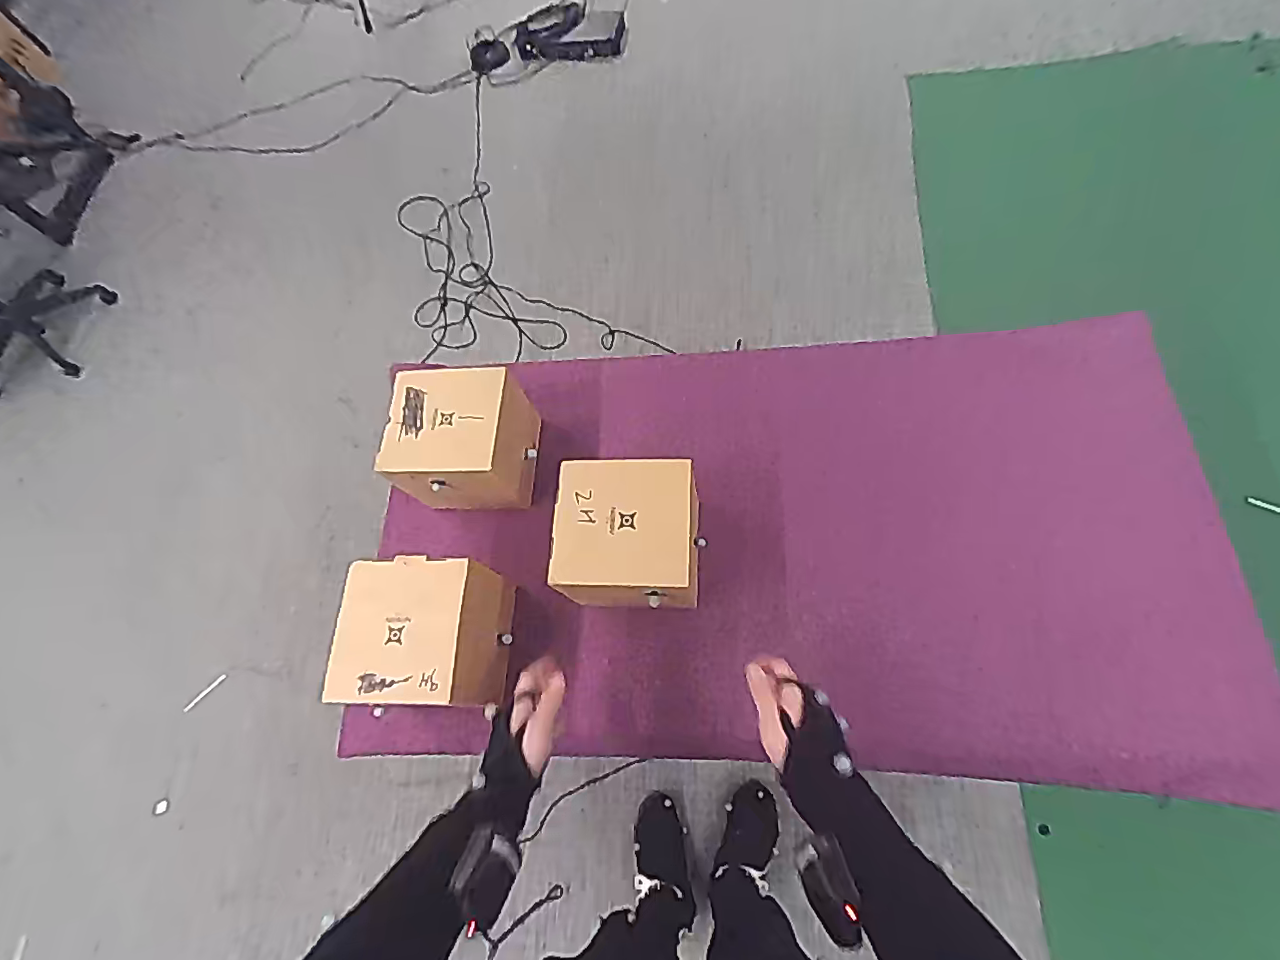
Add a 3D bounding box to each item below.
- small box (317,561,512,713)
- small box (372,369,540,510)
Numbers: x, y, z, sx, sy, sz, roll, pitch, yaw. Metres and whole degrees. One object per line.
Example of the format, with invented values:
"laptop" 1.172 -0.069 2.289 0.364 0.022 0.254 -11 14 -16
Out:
"small box" -0.286 0.216 0.729 0.168 0.176 0.179 -2 66 10
"small box" -0.271 -0.055 0.837 0.179 0.176 0.168 0 69 8
